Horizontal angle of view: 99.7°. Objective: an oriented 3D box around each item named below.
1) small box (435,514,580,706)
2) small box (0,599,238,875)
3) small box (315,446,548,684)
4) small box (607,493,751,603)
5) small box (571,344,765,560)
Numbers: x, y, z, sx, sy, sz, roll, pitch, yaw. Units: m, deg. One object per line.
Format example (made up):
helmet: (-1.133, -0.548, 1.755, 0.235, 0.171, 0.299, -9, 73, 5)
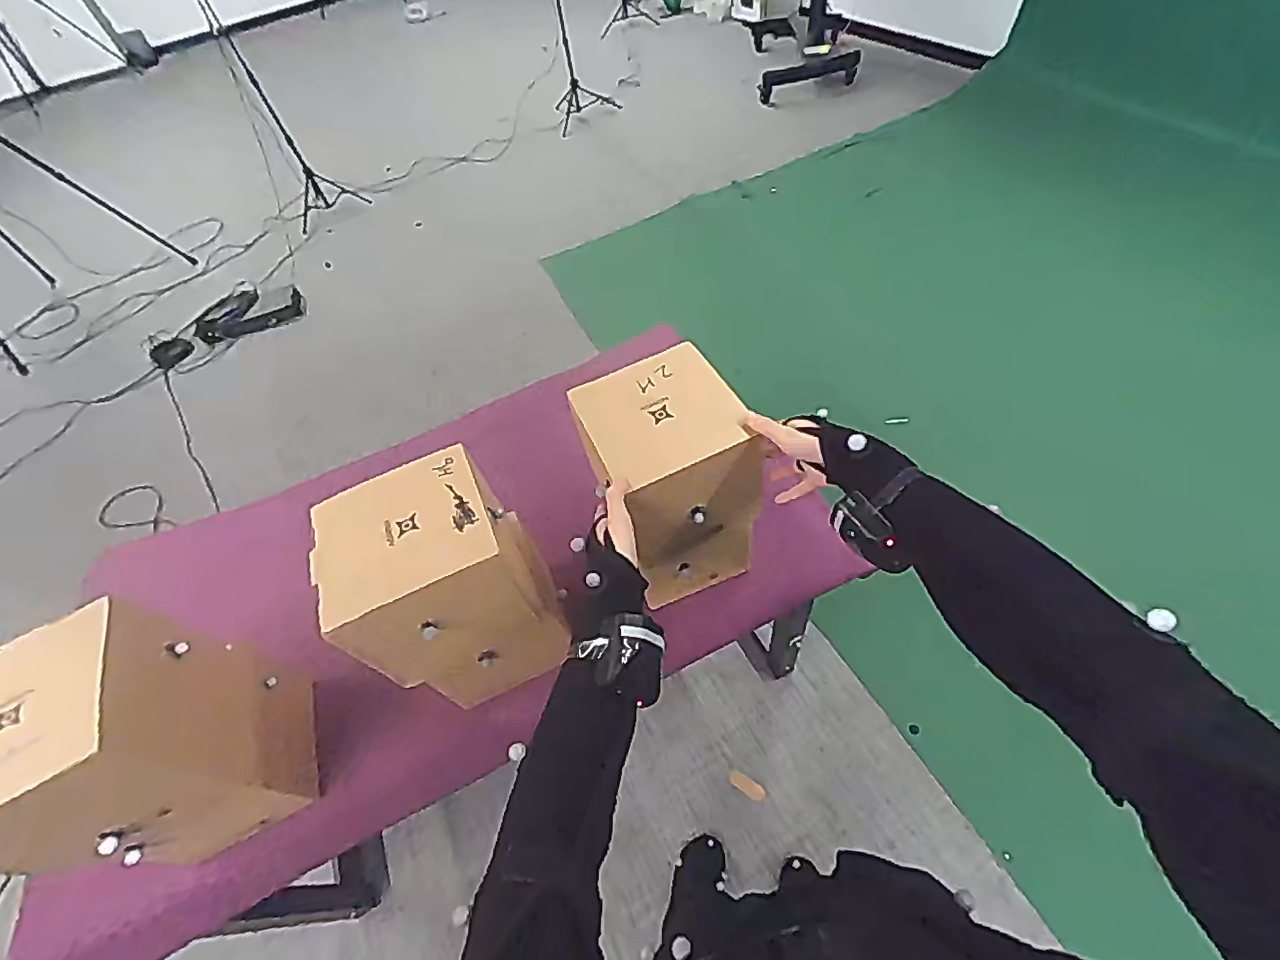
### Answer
small box: (-0.202, 0.184, 0.746, 0.179, 0.176, 0.168, -23, 53, -9)
small box: (-0.545, 0.259, 0.541, 0.168, 0.176, 0.179, -29, 54, -12)
small box: (-0.227, 0.100, 0.606, 0.179, 0.176, 0.168, -25, 53, -8)
small box: (0.057, 0.060, 0.796, 0.168, 0.176, 0.179, -21, 53, -5)
small box: (0.037, -0.025, 0.655, 0.168, 0.176, 0.179, -24, 53, -8)
